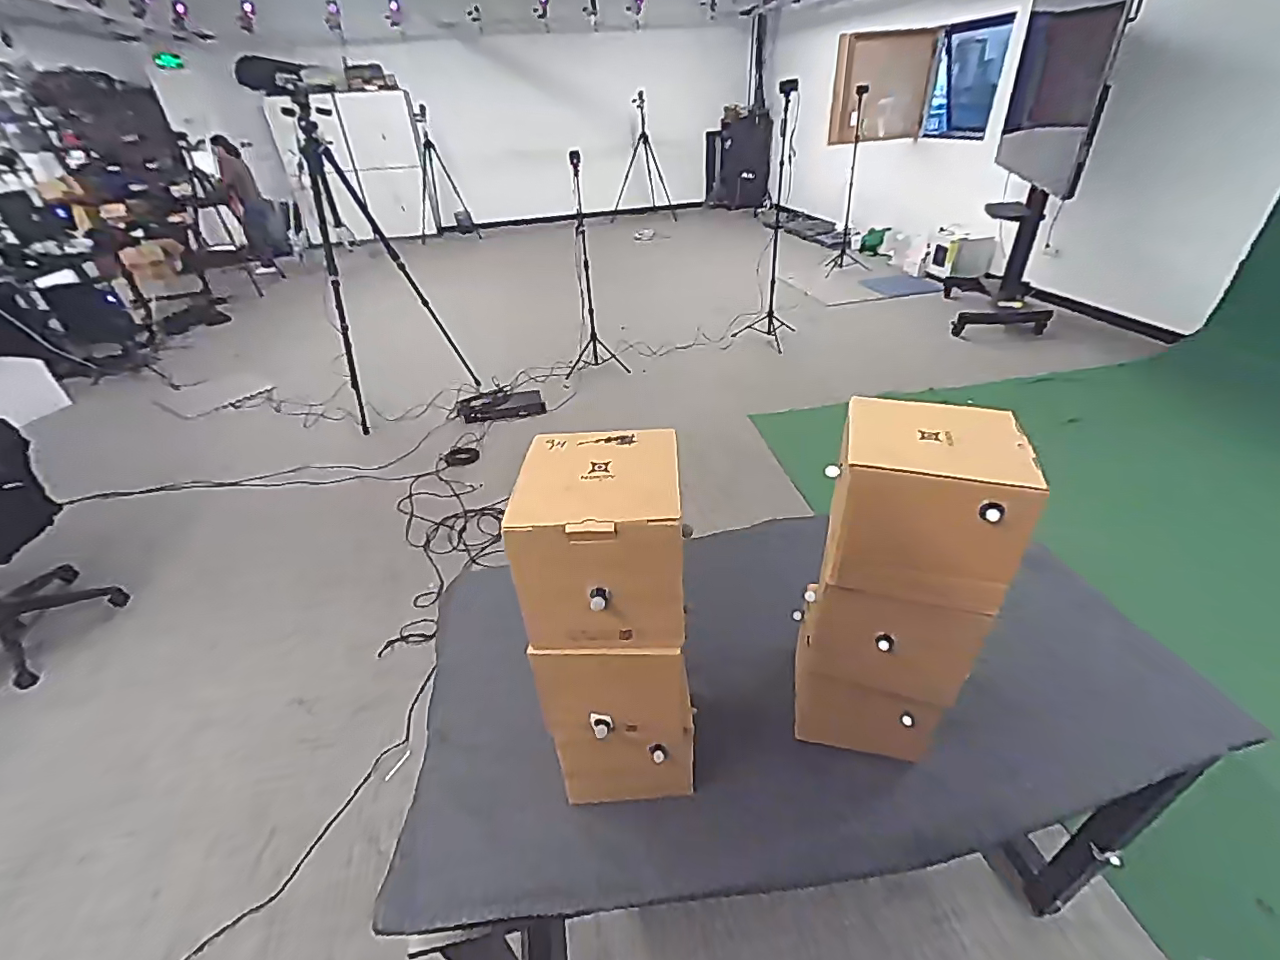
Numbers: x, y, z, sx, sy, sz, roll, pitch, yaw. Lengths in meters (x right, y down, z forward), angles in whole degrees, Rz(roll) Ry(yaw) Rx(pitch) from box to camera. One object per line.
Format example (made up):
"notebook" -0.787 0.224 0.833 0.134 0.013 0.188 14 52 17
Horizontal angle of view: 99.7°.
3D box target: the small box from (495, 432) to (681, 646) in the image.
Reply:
"small box" -0.041 0.066 0.593 0.168 0.176 0.179 -2 34 4

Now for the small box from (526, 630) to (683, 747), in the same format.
"small box" -0.031 0.205 0.679 0.168 0.176 0.179 -2 35 5

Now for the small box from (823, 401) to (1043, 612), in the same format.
"small box" 0.310 0.026 0.615 0.179 0.176 0.168 8 35 16

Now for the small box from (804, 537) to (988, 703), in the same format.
"small box" 0.321 0.160 0.705 0.179 0.176 0.168 9 35 19

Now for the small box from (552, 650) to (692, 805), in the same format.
"small box" -0.022 0.337 0.773 0.179 0.176 0.168 -4 33 0
